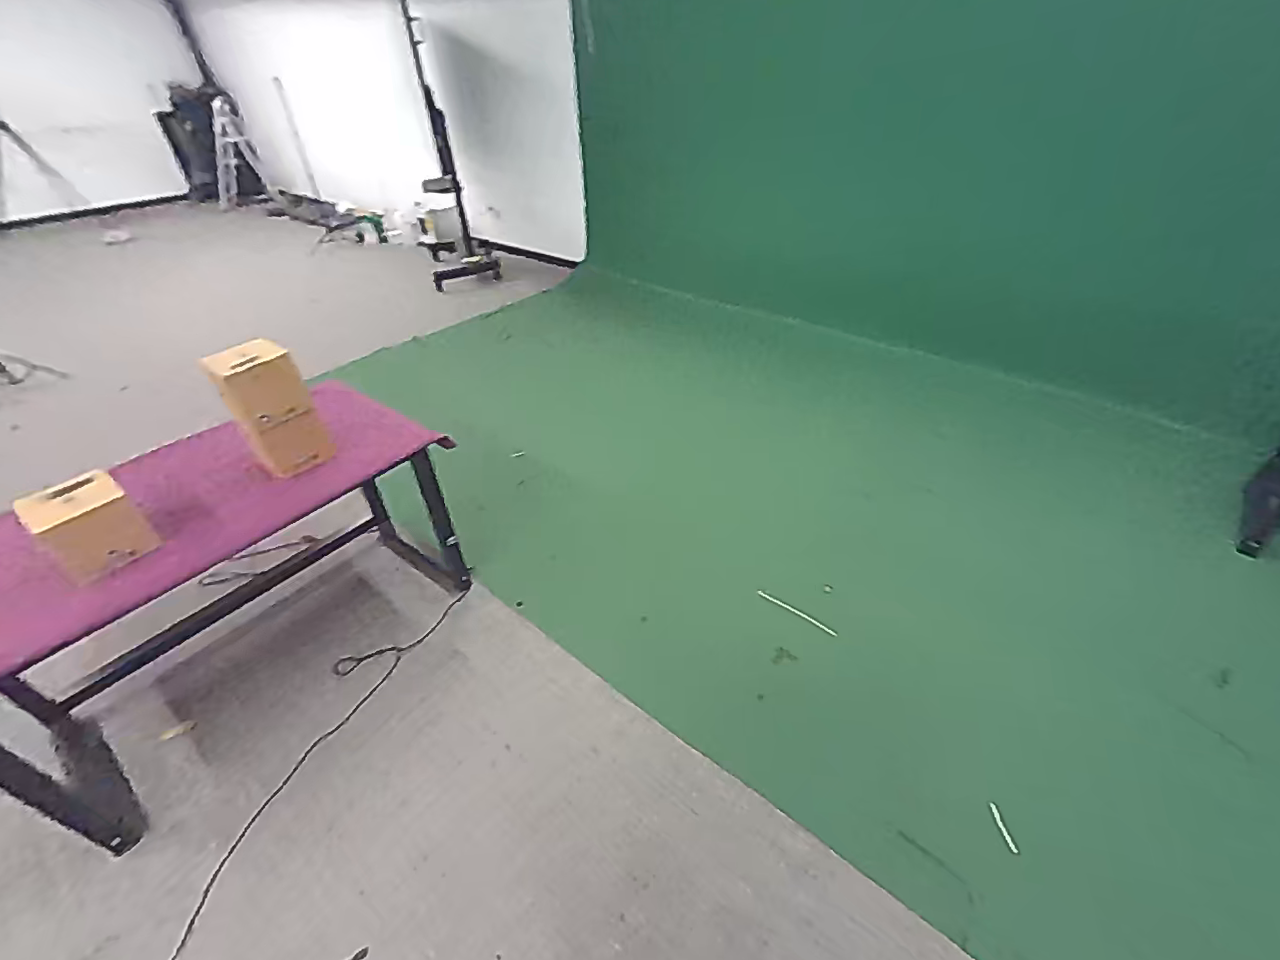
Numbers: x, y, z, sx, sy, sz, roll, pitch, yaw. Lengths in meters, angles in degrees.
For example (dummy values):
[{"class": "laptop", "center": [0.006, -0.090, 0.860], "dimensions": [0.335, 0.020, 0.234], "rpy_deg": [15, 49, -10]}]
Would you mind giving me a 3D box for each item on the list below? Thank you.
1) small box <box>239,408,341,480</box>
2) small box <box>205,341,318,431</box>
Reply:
[{"class": "small box", "center": [-1.011, -0.125, 1.567], "dimensions": [0.179, 0.176, 0.168], "rpy_deg": [26, 48, 32]}, {"class": "small box", "center": [-1.015, -0.252, 1.463], "dimensions": [0.179, 0.176, 0.168], "rpy_deg": [24, 47, 32]}]
